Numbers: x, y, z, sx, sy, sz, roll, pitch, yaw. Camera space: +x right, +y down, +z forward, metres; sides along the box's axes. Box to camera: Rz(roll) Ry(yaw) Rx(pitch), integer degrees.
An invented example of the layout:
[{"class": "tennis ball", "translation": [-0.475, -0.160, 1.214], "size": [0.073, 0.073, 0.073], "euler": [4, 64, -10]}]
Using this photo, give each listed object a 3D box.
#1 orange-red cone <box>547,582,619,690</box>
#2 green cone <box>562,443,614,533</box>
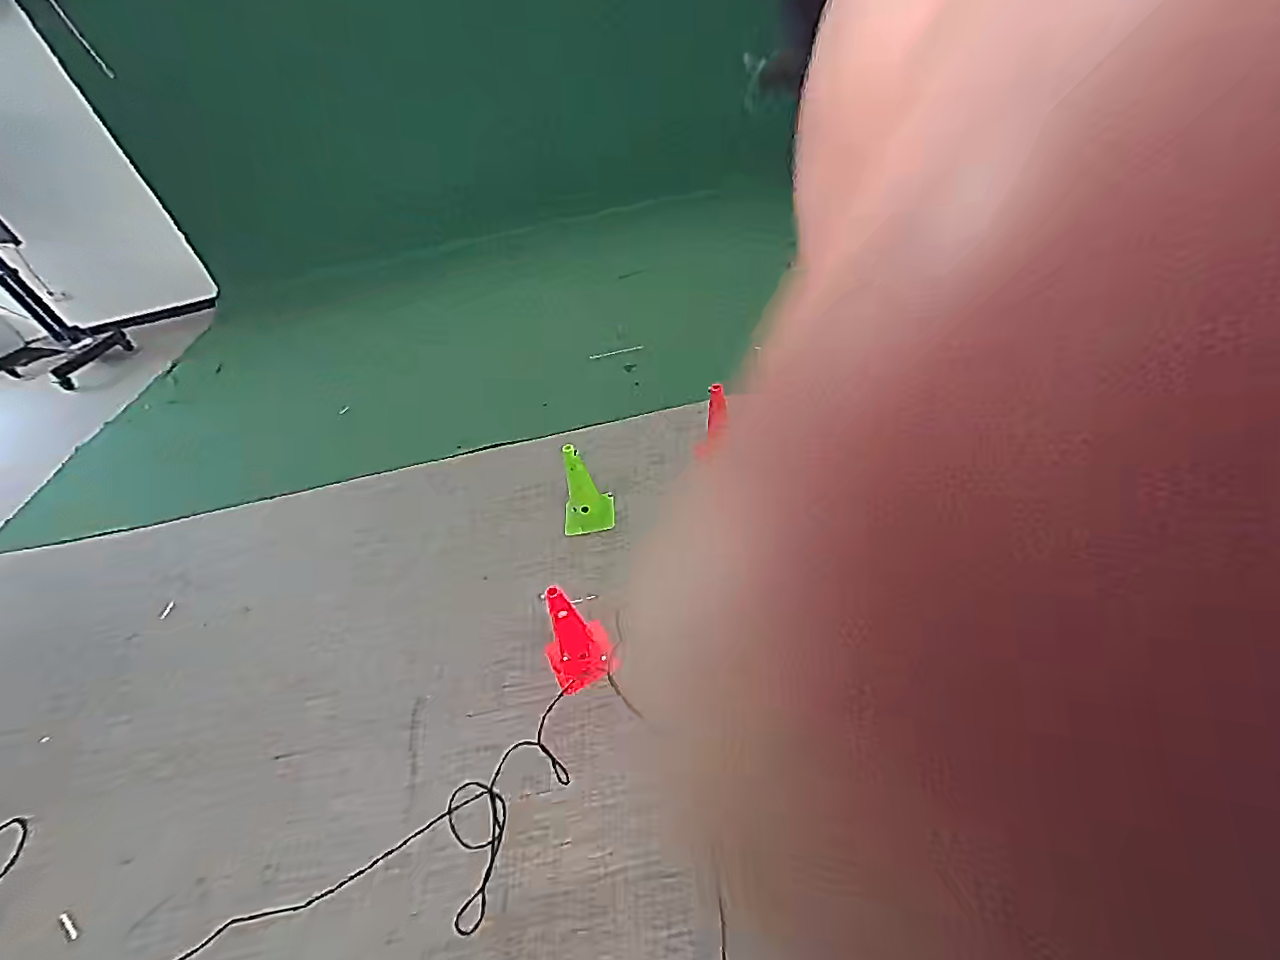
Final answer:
[{"class": "orange-red cone", "translation": [-0.212, 0.425, 1.608], "size": [0.198, 0.360, 0.199], "euler": [-24, 42, -14]}, {"class": "green cone", "translation": [-0.235, 0.003, 2.063], "size": [0.200, 0.368, 0.202], "euler": [-11, 43, 3]}]
